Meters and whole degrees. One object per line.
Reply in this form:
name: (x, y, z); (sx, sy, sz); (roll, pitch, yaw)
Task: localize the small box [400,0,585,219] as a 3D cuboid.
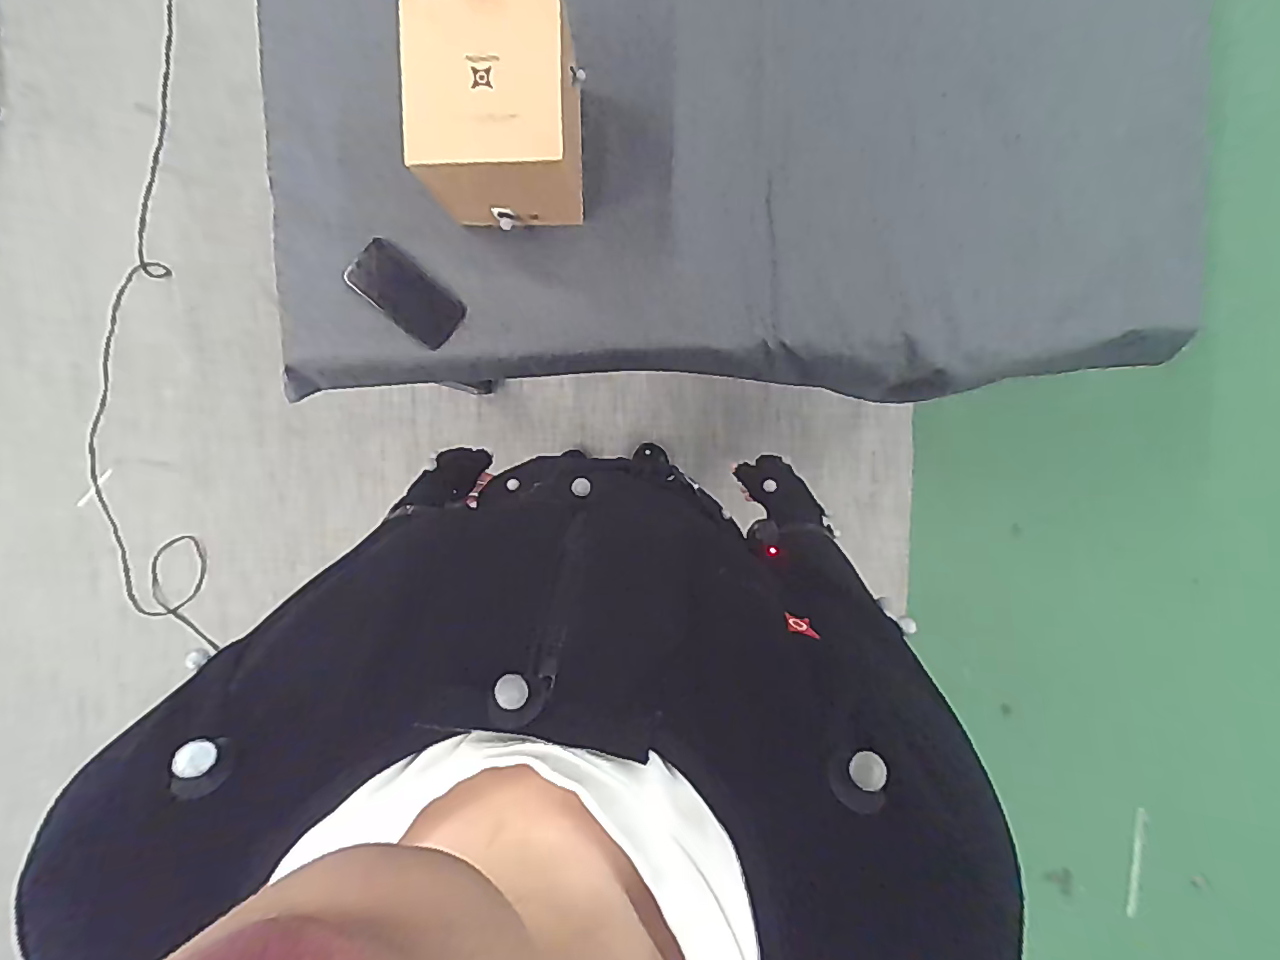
small box: (-0.156, -0.424, 0.621); (0.168, 0.176, 0.179); (0, 95, 2)
